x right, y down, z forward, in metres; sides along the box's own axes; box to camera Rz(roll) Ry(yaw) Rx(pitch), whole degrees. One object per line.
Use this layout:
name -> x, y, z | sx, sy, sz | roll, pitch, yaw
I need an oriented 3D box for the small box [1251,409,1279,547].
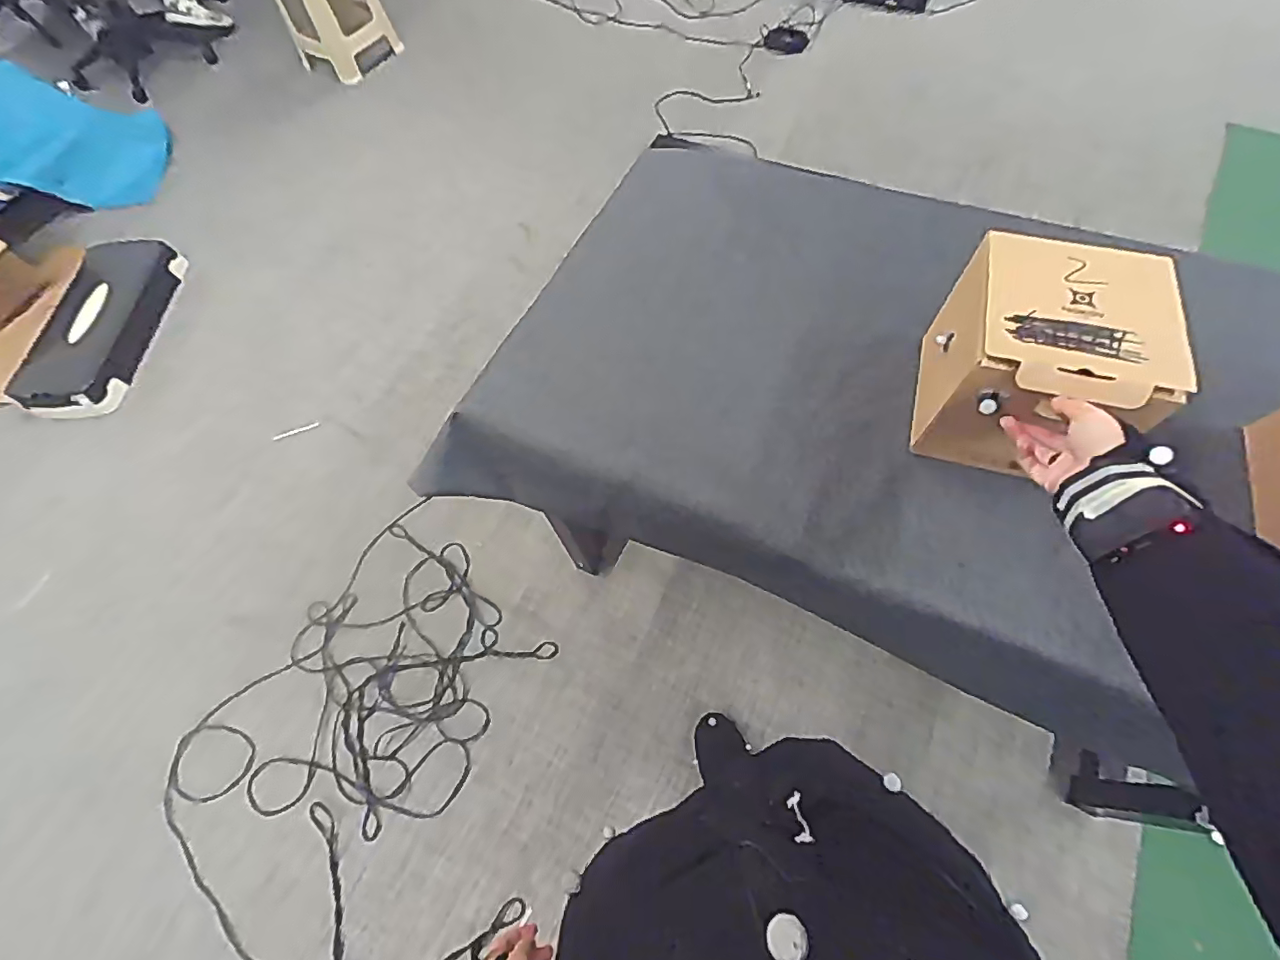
small box -> 0.723, -0.003, 0.483 | 0.168, 0.176, 0.179 | 16, 65, 11
